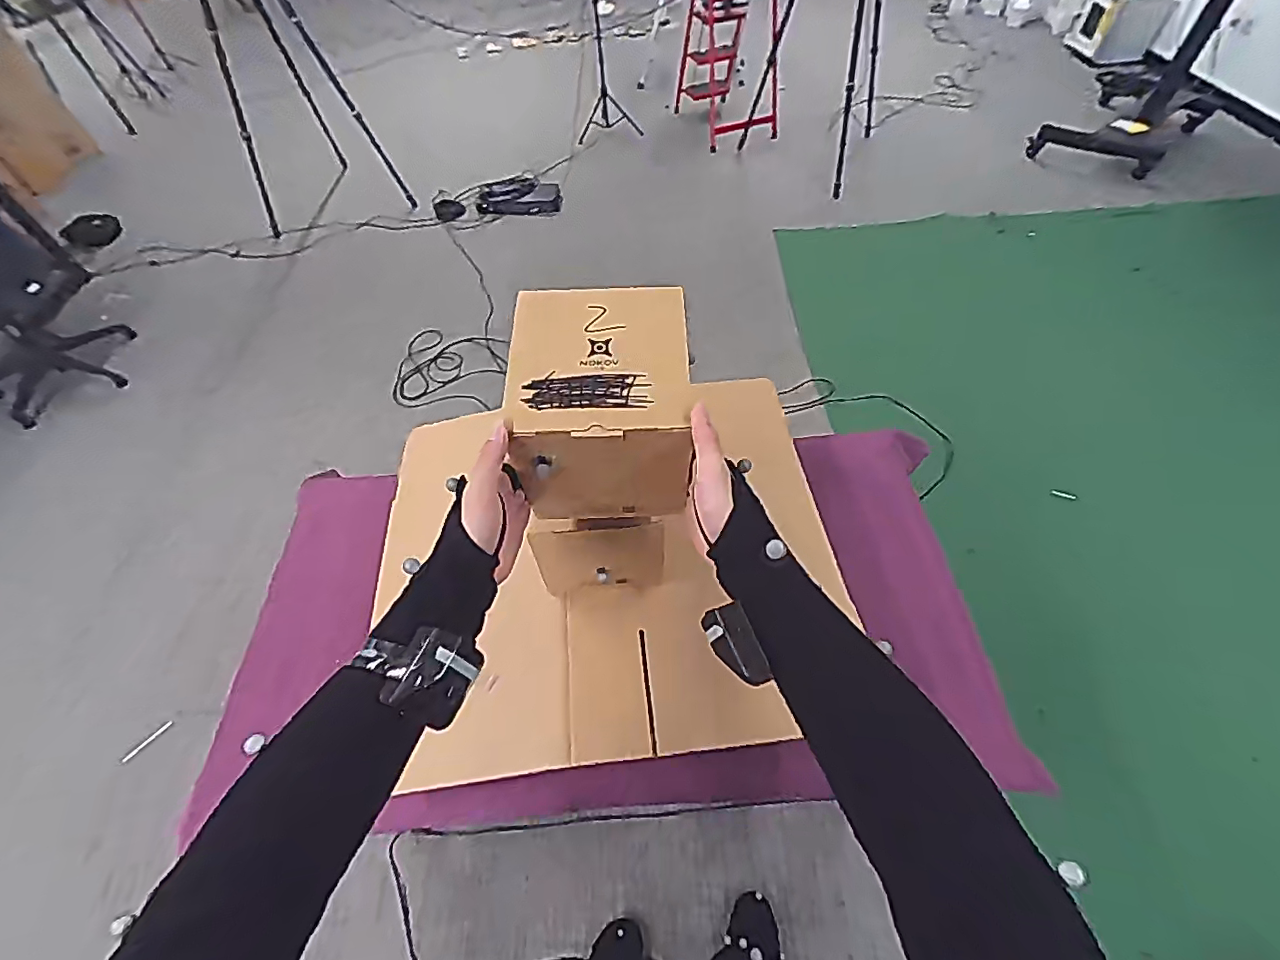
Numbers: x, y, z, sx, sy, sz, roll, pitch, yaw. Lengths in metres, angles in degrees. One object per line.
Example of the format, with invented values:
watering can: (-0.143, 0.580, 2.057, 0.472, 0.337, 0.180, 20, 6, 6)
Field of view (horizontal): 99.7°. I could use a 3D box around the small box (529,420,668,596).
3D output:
small box: (-0.054, 0.041, 0.744, 0.168, 0.176, 0.179, -5, 54, -2)
